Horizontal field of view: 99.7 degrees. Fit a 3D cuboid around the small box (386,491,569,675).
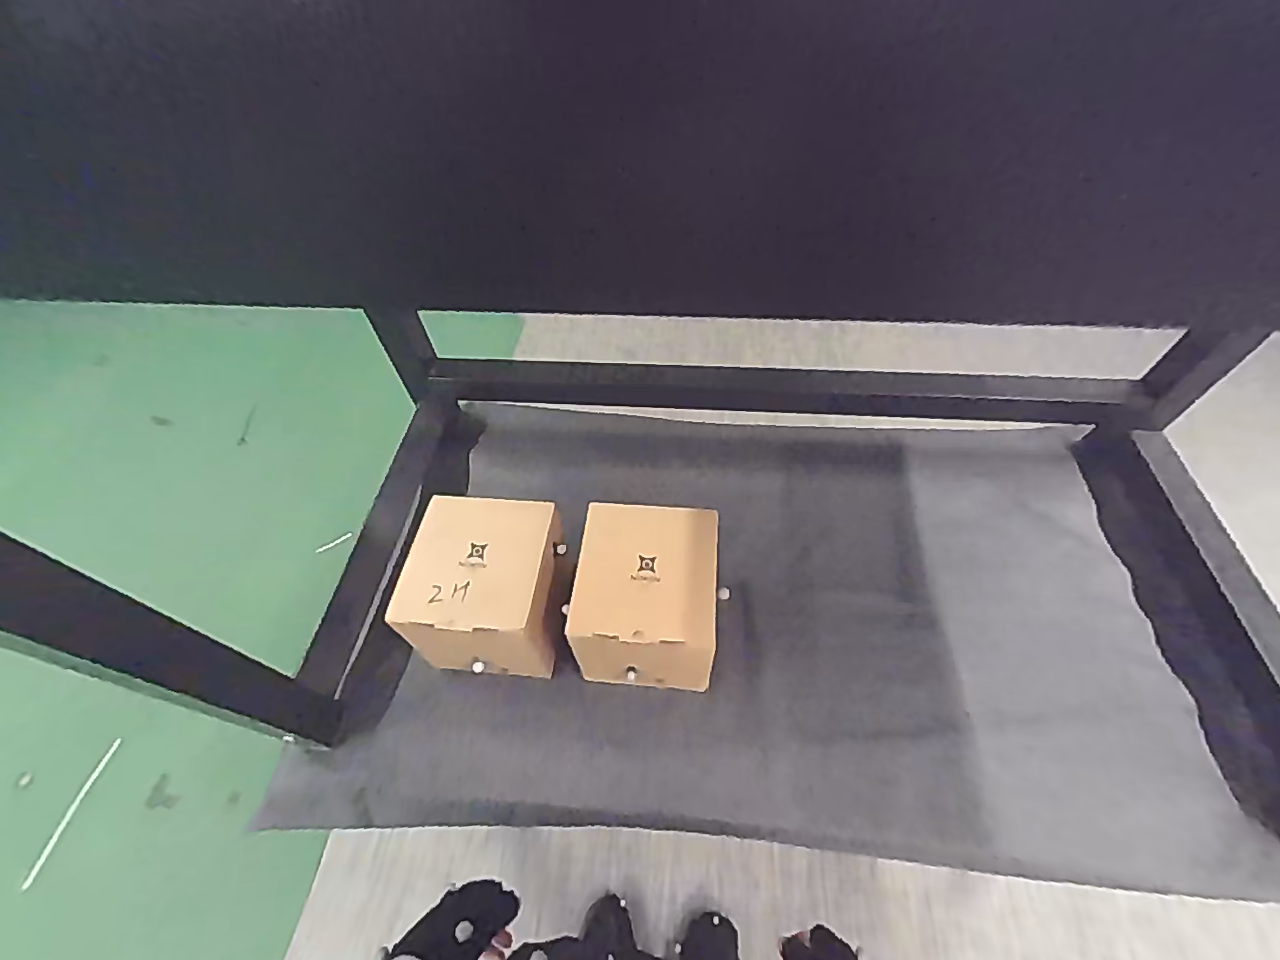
[{"bbox_3d":[-0.196,0.137,0.714,0.168,0.176,0.179,3,54,6],"label":"small box"}]
